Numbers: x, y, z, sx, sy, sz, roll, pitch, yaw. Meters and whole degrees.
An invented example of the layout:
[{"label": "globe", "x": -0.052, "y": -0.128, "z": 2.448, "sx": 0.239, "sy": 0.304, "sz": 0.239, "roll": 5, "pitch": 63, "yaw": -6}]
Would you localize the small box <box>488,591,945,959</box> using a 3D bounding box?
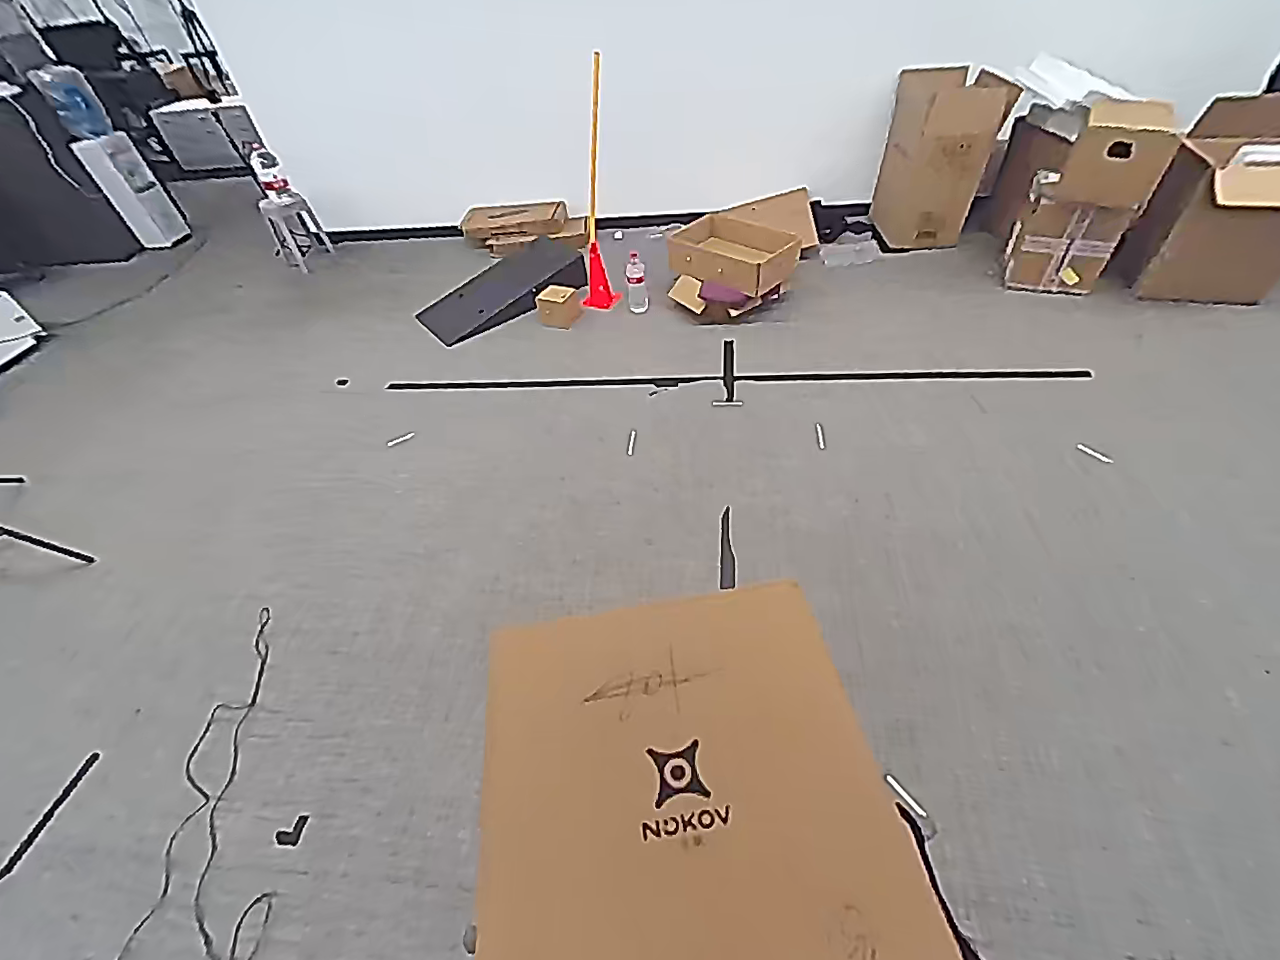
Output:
[{"label": "small box", "x": 0.022, "y": 0.190, "z": 0.292, "sx": 0.168, "sy": 0.176, "sz": 0.179, "roll": -9, "pitch": 45, "yaw": -5}]
